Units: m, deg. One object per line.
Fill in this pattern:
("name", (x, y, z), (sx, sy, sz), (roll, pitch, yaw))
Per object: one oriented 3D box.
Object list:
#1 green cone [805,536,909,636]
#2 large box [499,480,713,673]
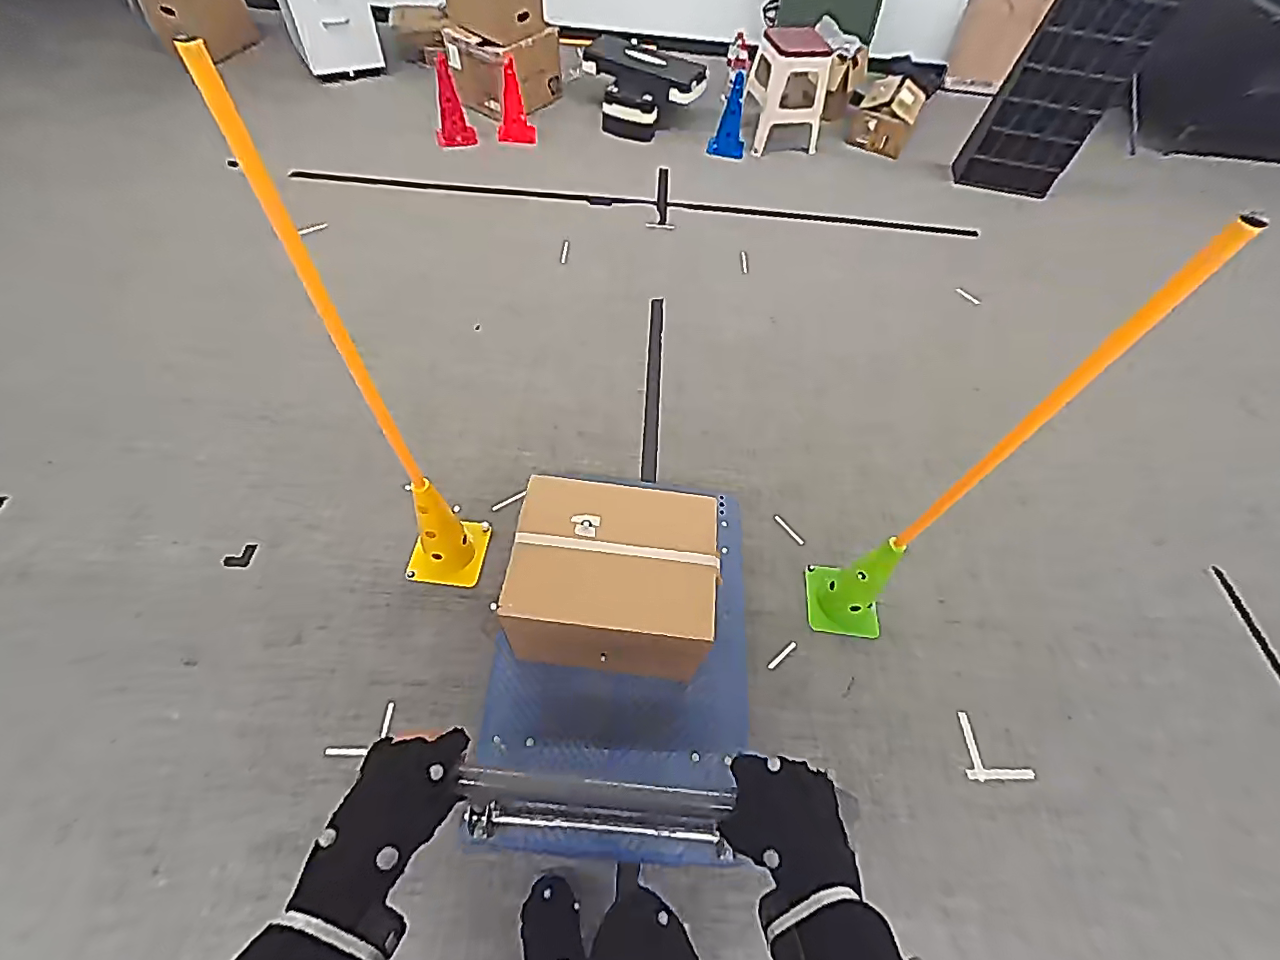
("green cone", (0.596, 0.251, 1.427), (0.202, 0.368, 0.200), (8, 56, -1))
("large box", (-0.059, 0.227, 1.211), (0.408, 0.320, 0.320), (7, 57, 1))
